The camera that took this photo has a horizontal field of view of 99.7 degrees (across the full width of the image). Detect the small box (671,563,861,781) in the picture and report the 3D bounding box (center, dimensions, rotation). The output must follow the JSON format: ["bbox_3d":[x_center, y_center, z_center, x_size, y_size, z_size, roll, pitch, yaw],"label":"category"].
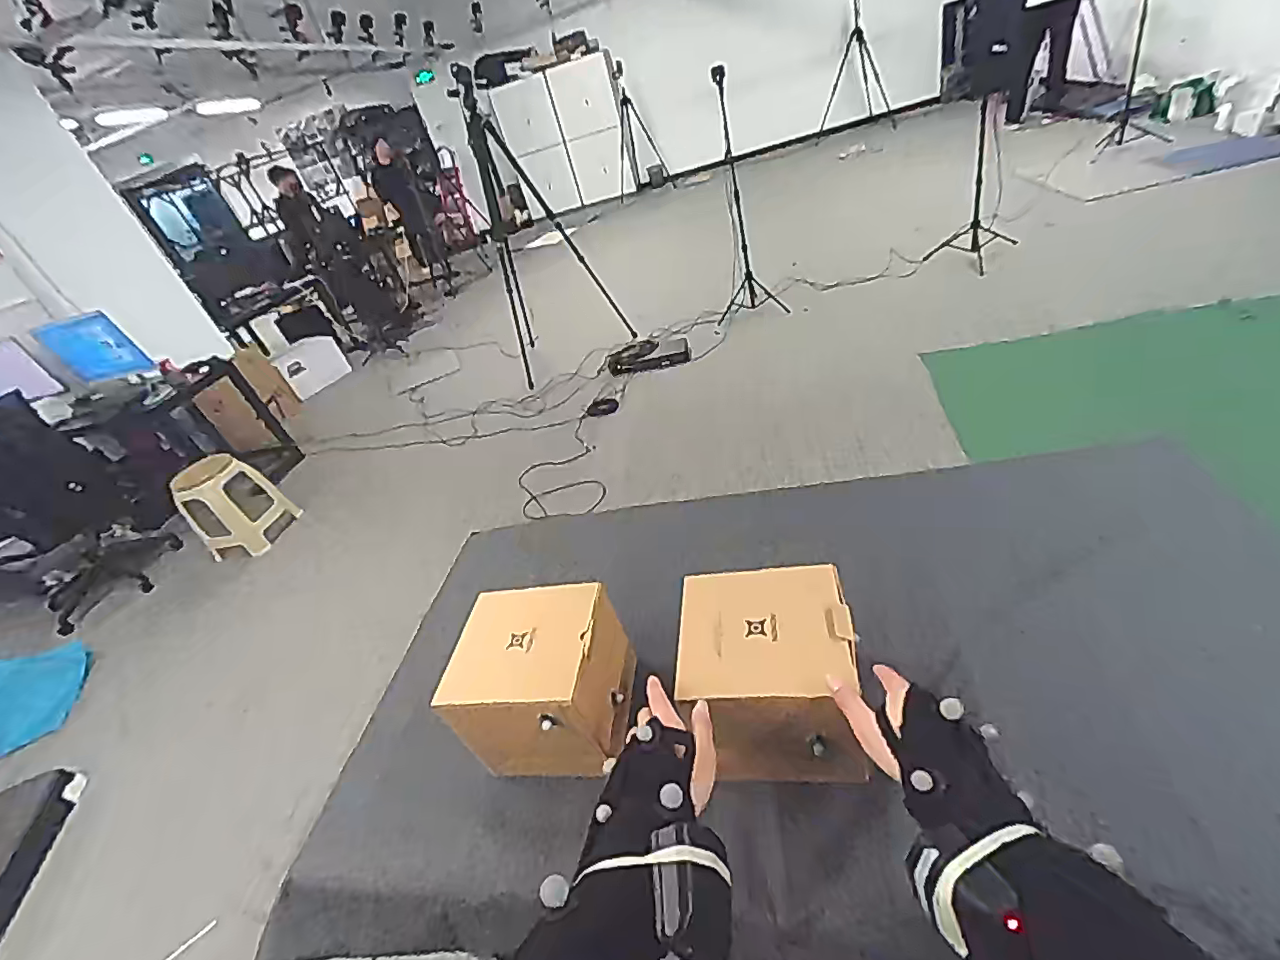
[{"bbox_3d":[0.145,0.218,0.612,0.179,0.176,0.168,-9,34,16],"label":"small box"}]

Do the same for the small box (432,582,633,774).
[{"bbox_3d":[-0.122,0.255,0.691,0.179,0.176,0.168,-8,35,14],"label":"small box"}]
